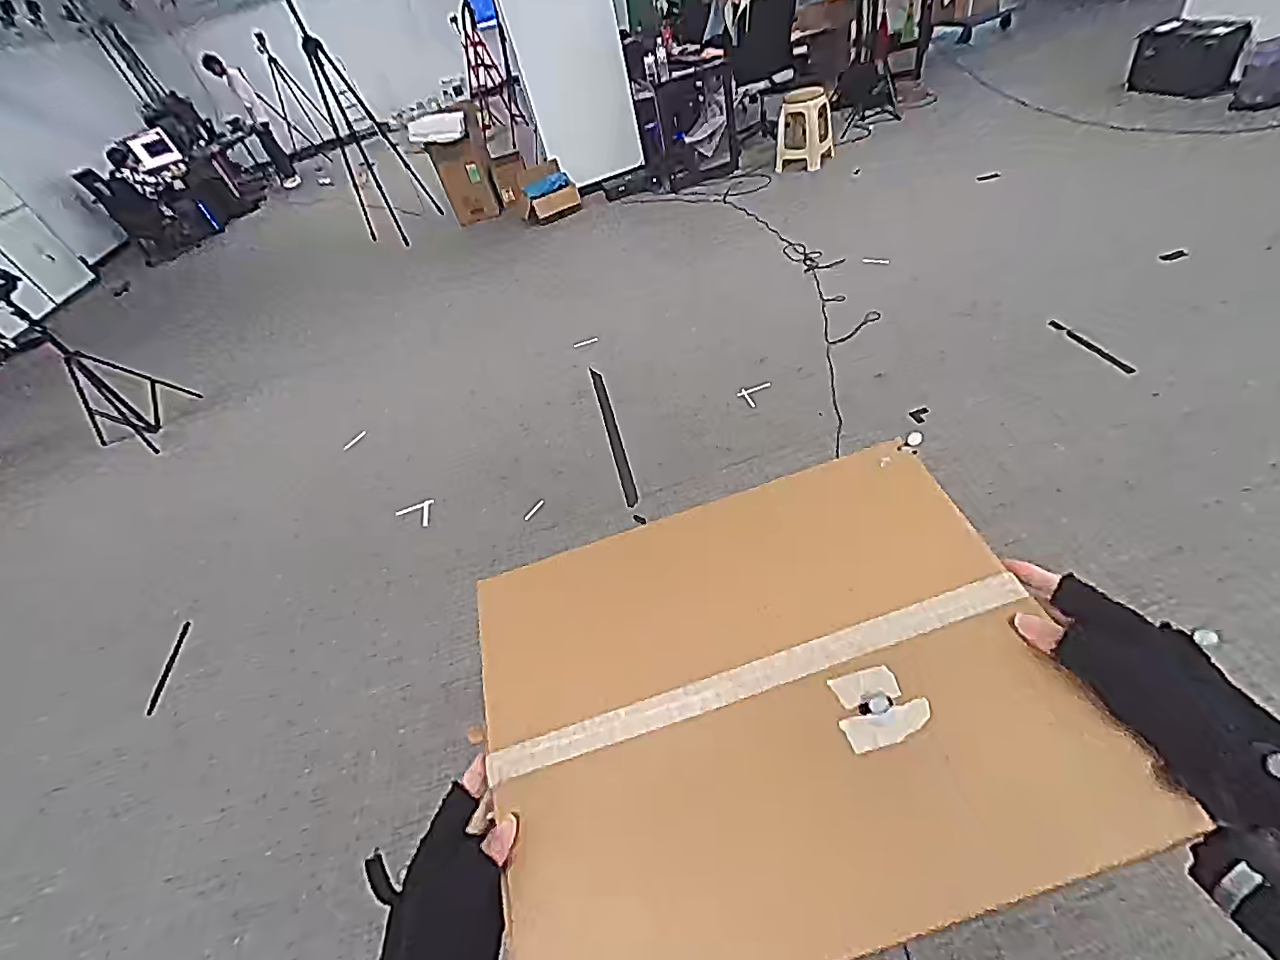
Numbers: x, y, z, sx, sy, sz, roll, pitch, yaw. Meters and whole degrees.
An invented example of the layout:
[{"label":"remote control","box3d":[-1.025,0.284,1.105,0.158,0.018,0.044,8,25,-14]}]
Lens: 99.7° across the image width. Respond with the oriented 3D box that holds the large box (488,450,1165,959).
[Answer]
[{"label":"large box","box3d":[0.114,0.237,0.523,0.408,0.320,0.320,-19,52,-1]}]
